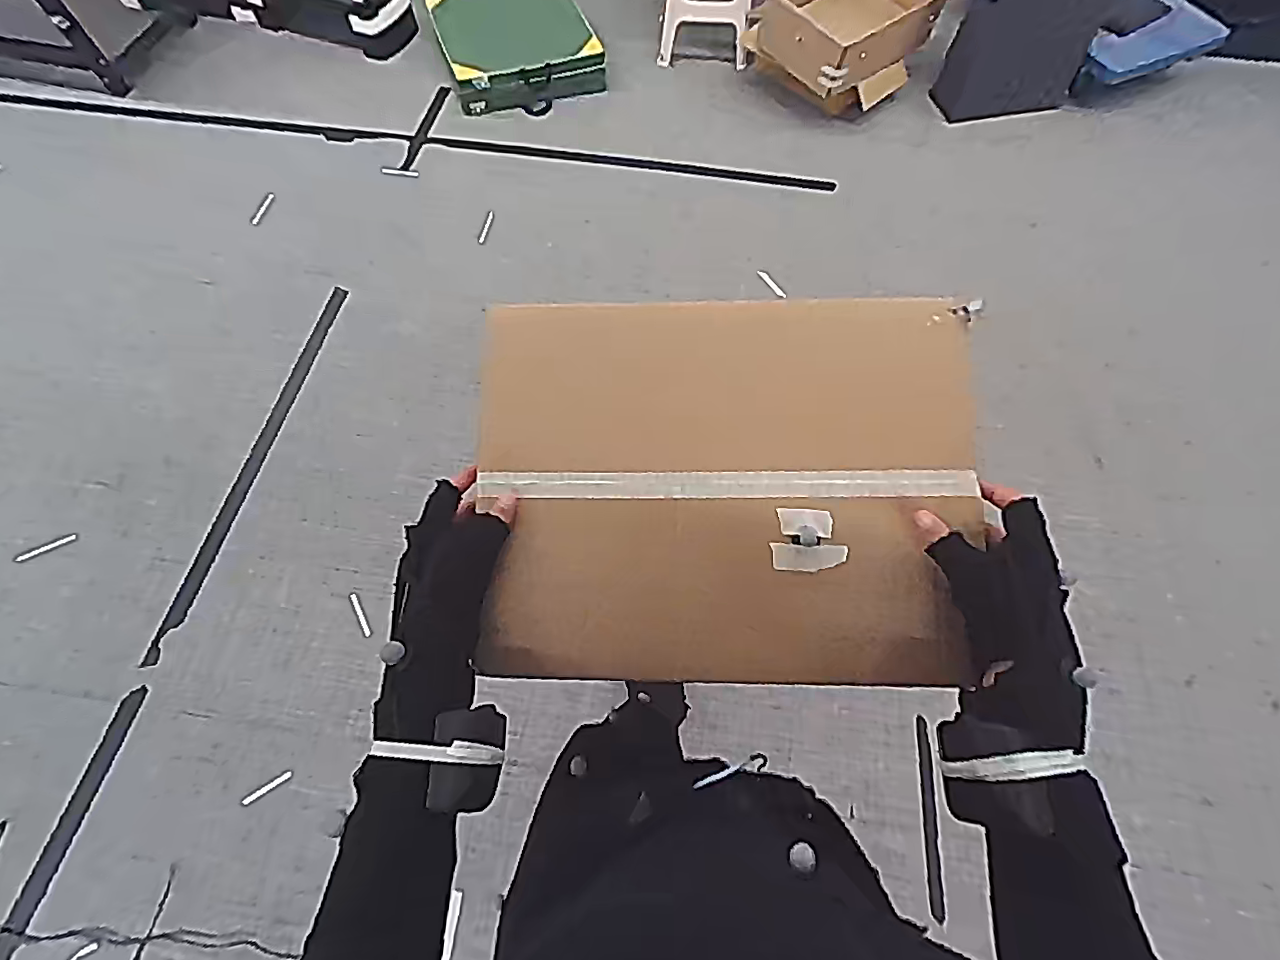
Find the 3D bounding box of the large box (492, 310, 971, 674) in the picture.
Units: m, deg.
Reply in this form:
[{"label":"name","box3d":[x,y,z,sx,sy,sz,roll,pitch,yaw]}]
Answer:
[{"label":"large box","box3d":[0.076,0.024,0.610,0.408,0.320,0.320,0,84,3]}]
